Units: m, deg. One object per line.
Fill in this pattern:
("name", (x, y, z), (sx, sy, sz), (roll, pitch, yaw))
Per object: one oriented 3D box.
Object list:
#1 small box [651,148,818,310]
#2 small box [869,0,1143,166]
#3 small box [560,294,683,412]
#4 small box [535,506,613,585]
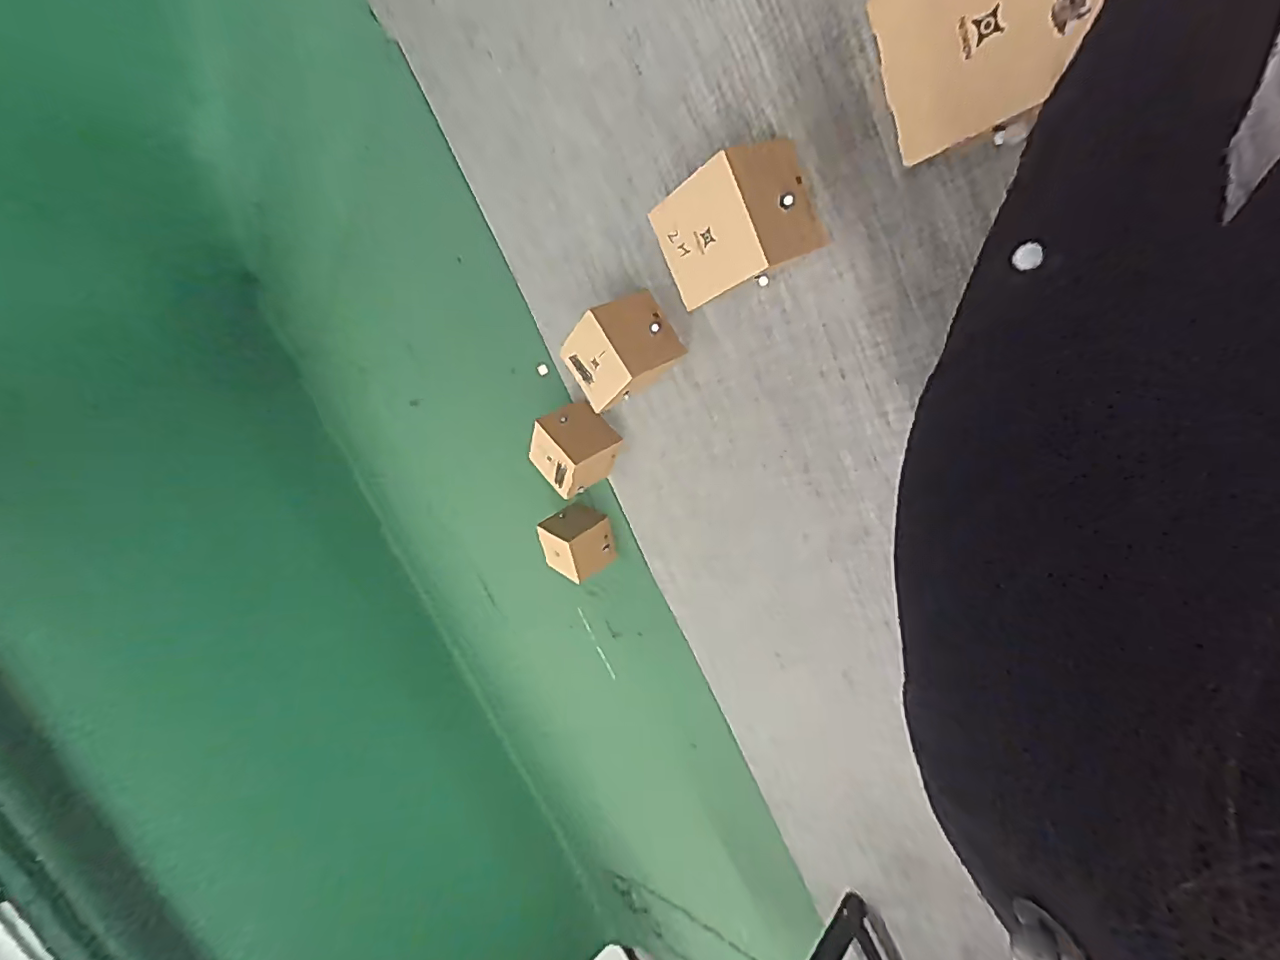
("small box", (0.155, -0.393, 0.849), (0.179, 0.176, 0.168), (-11, 106, 54))
("small box", (0.368, -0.446, 0.546), (0.179, 0.176, 0.168), (-2, 114, 52))
("small box", (-0.040, -0.275, 1.176), (0.168, 0.176, 0.179), (59, 144, 0))
("small box", (-0.211, 0.205, 1.749), (0.179, 0.176, 0.168), (20, 130, 42))
